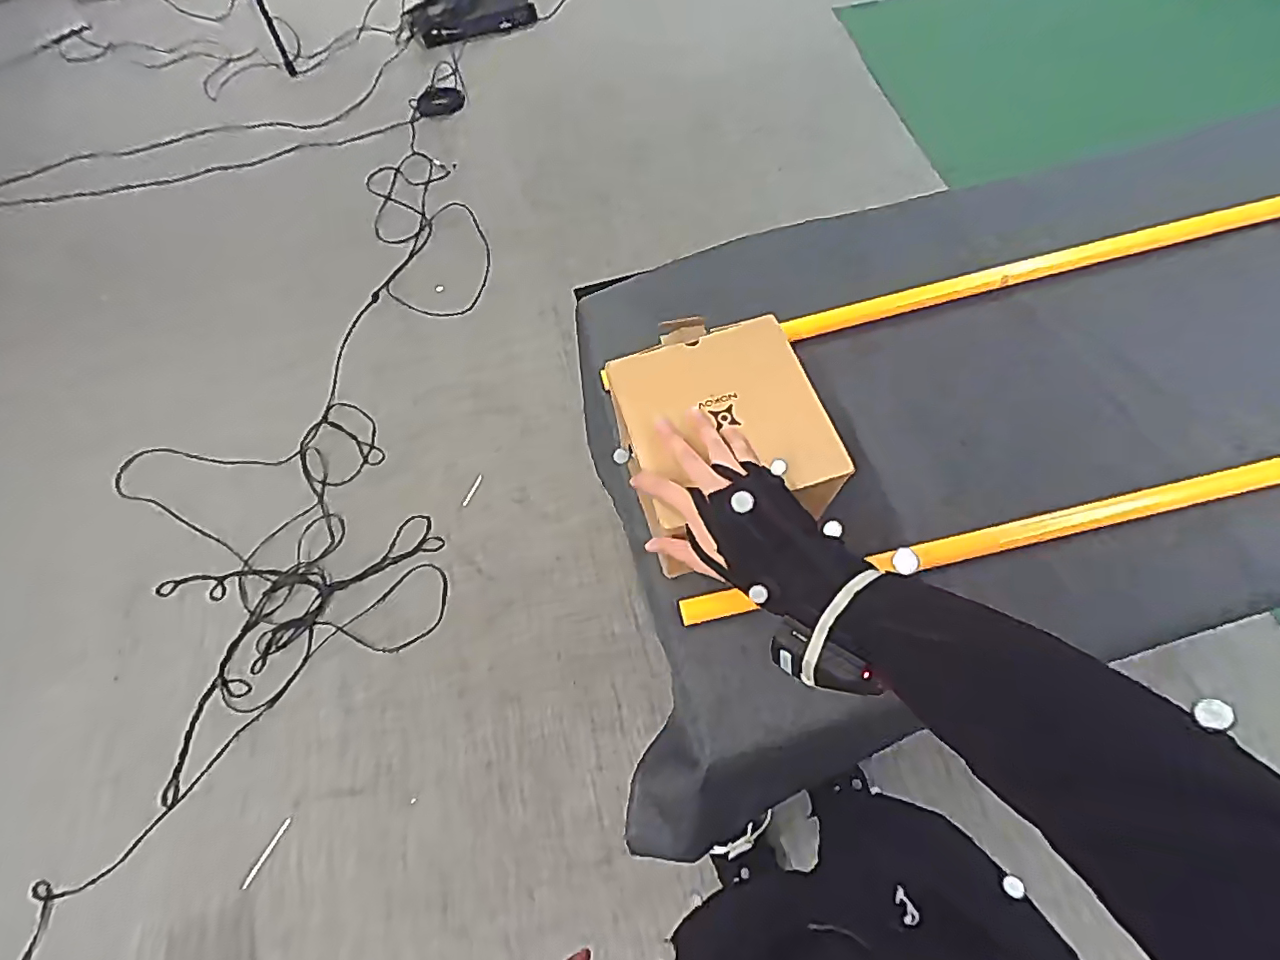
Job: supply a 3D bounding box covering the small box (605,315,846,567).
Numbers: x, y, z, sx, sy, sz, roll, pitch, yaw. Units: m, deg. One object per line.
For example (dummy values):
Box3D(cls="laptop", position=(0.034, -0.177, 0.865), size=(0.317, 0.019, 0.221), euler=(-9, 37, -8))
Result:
Box3D(cls="small box", position=(0.076, -0.025, 0.541), size=(0.168, 0.176, 0.179), euler=(-18, 65, -3))
